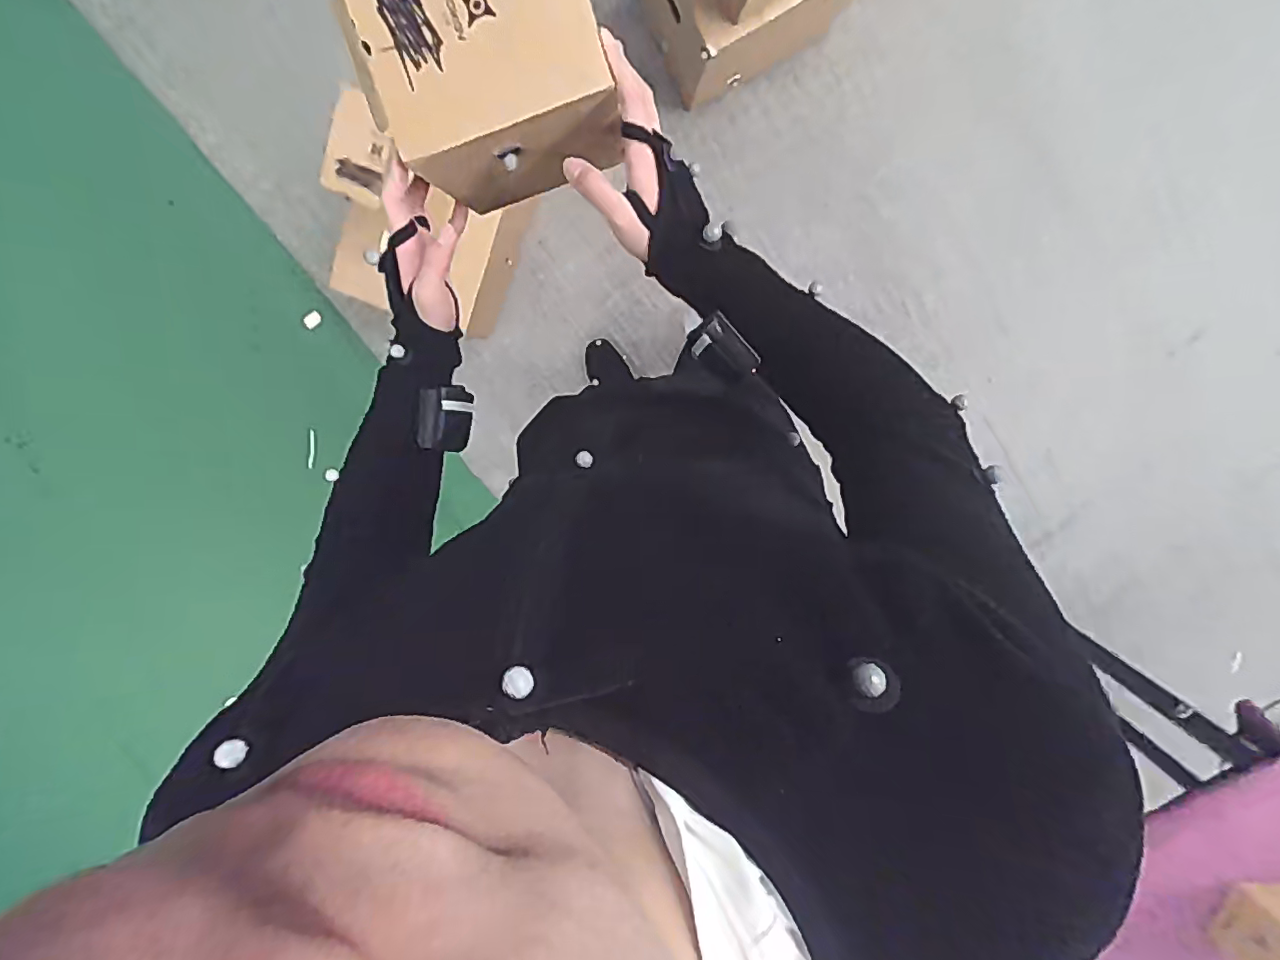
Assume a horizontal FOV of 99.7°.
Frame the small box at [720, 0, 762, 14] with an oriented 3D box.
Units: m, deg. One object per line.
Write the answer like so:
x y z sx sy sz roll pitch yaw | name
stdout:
0.210 -0.989 0.965 0.168 0.176 0.179 -30 107 6 | small box

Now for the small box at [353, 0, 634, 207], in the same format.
-0.113 -0.362 0.472 0.179 0.176 0.168 -15 103 7 | small box

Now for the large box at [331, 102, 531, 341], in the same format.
-0.483 -0.590 1.310 0.320 0.320 0.408 20 105 -7 | large box
